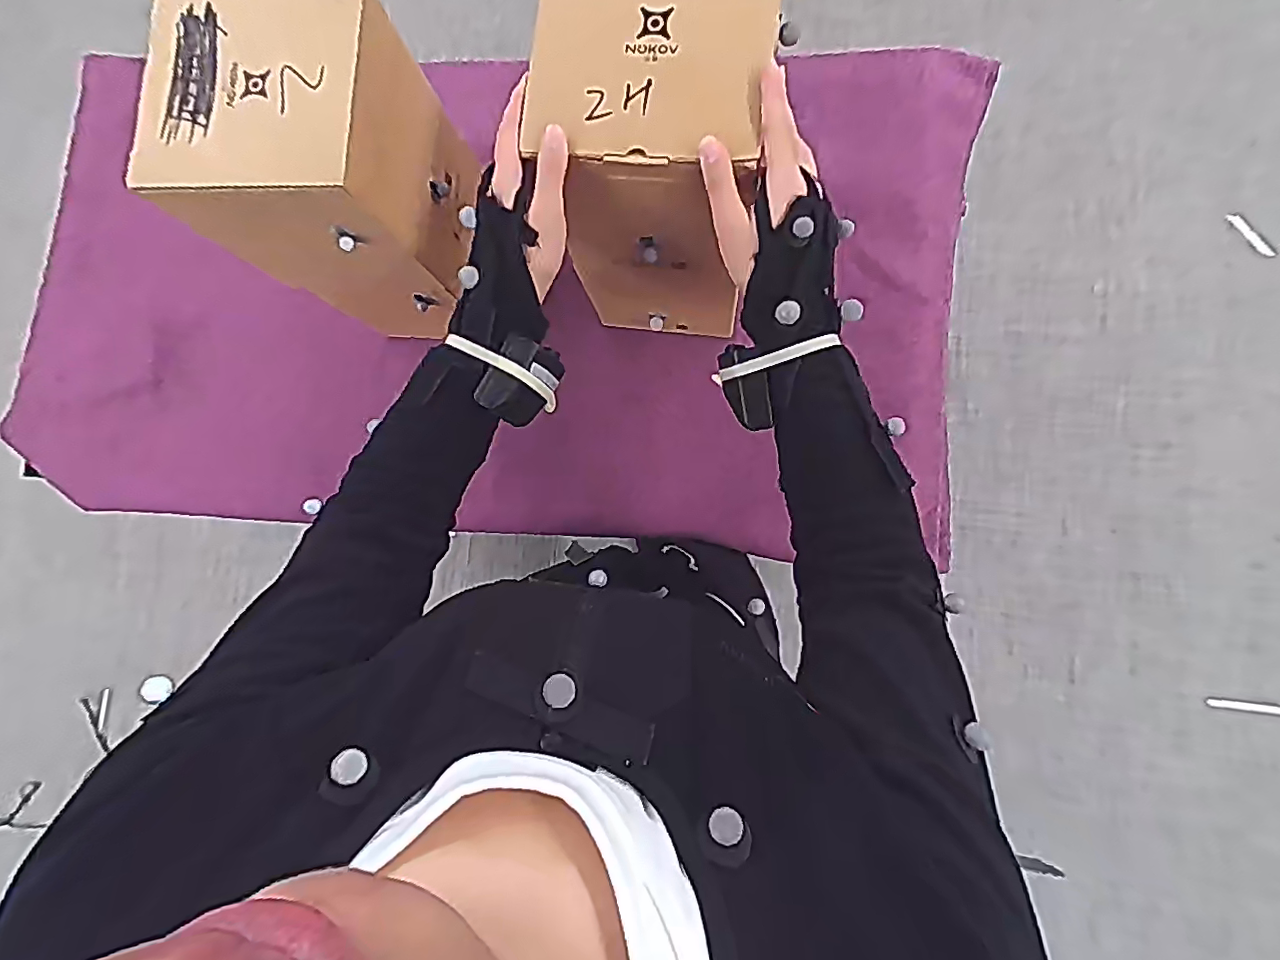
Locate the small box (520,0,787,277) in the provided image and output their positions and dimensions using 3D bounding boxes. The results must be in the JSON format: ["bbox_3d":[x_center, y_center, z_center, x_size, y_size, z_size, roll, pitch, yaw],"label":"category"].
[{"bbox_3d":[0.021,-0.292,0.438,0.168,0.176,0.179,8,86,8],"label":"small box"}]

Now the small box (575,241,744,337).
[{"bbox_3d":[0.037,-0.279,0.603,0.168,0.176,0.179,8,86,7],"label":"small box"}]

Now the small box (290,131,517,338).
[{"bbox_3d":[-0.264,-0.276,0.640,0.179,0.176,0.168,4,85,6],"label":"small box"}]
